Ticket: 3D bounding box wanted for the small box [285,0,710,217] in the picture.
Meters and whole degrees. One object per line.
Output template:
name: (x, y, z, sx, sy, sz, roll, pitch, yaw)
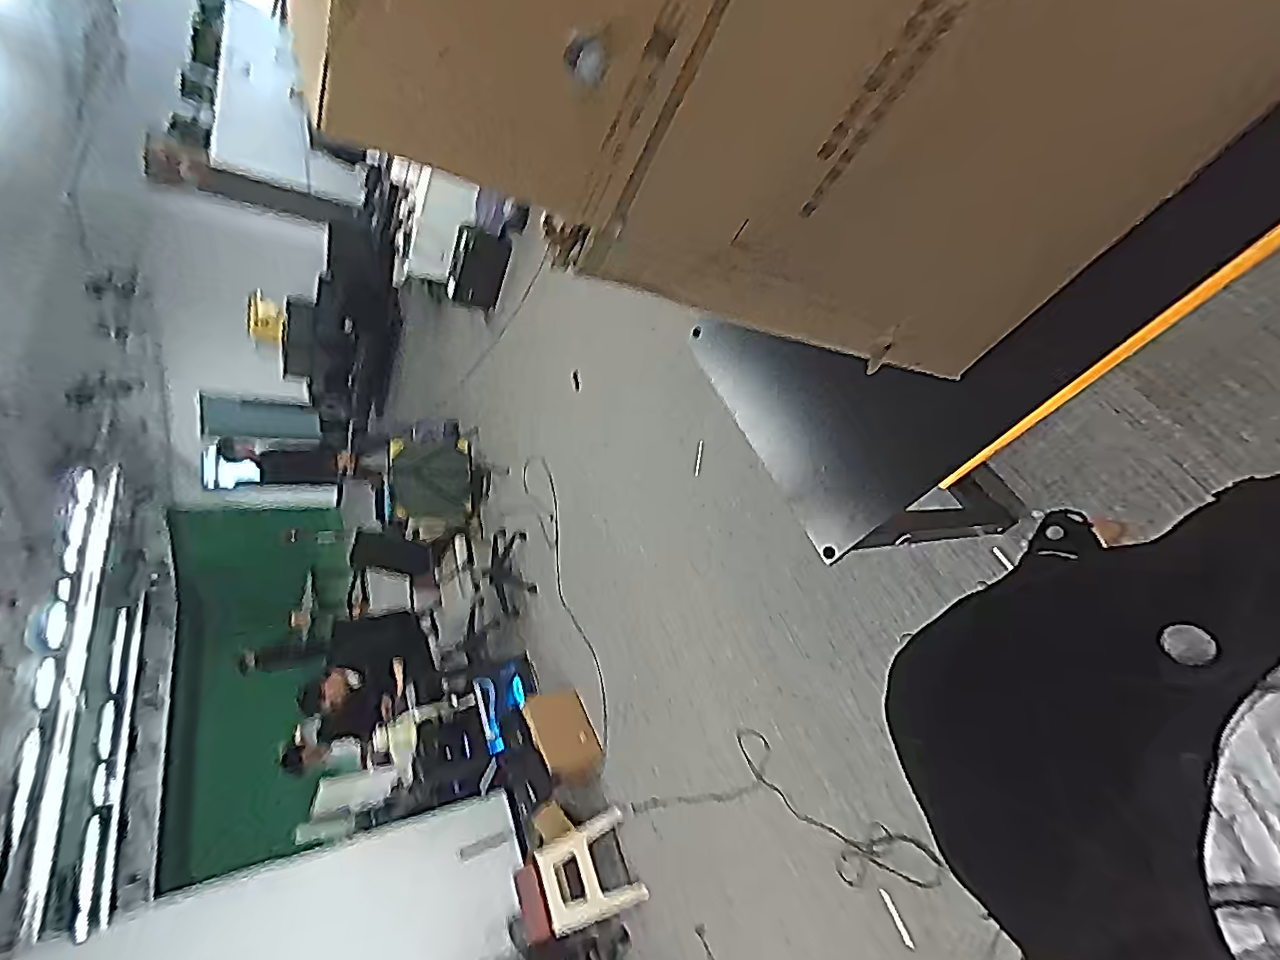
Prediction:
small box: (-0.088, -0.281, 0.304, 0.168, 0.176, 0.179, -53, 52, 38)
